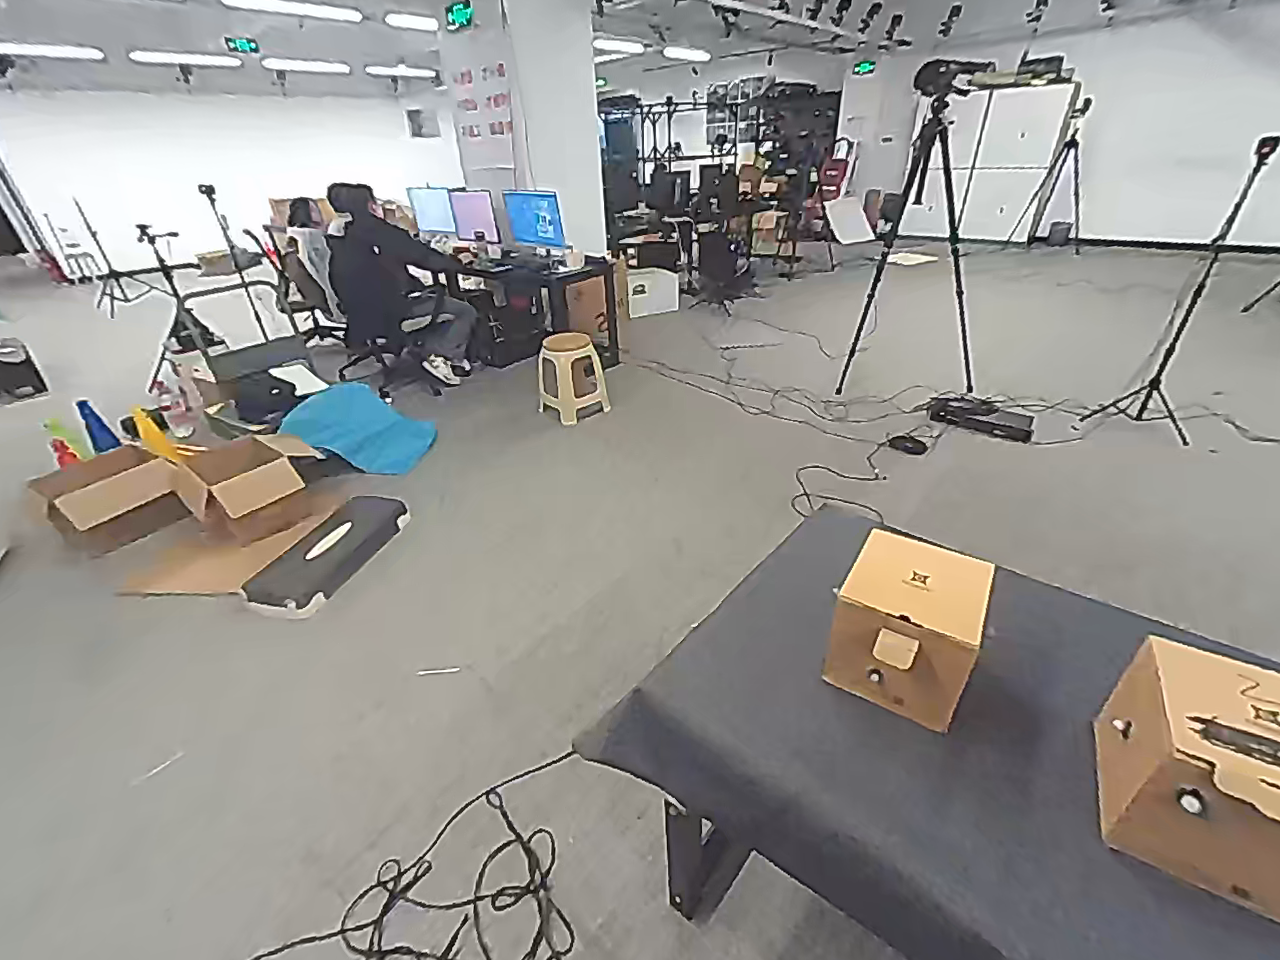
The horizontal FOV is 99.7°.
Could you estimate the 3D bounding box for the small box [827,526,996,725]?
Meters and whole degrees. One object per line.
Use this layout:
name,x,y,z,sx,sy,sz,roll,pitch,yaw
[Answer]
small box,0.378,0.199,0.766,0.168,0.176,0.179,18,37,30
